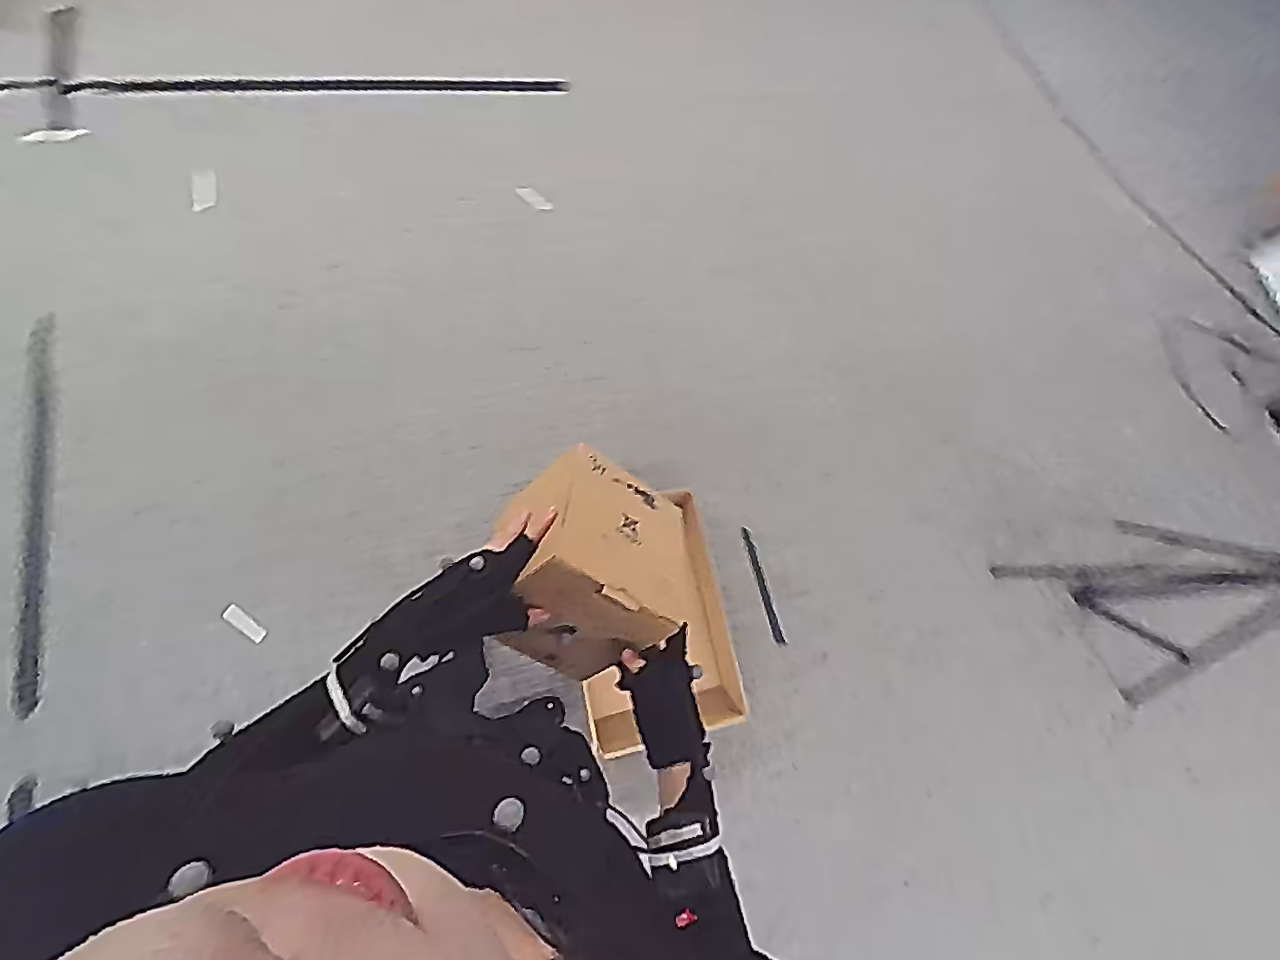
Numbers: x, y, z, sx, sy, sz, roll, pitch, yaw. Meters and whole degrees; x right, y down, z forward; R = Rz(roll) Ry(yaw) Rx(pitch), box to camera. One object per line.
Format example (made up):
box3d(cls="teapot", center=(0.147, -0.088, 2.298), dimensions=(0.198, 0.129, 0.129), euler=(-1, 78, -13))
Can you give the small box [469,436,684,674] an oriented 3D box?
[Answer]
box3d(cls="small box", center=(-0.068, 0.091, 0.609), dimensions=(0.168, 0.176, 0.179), euler=(34, 36, -24))
